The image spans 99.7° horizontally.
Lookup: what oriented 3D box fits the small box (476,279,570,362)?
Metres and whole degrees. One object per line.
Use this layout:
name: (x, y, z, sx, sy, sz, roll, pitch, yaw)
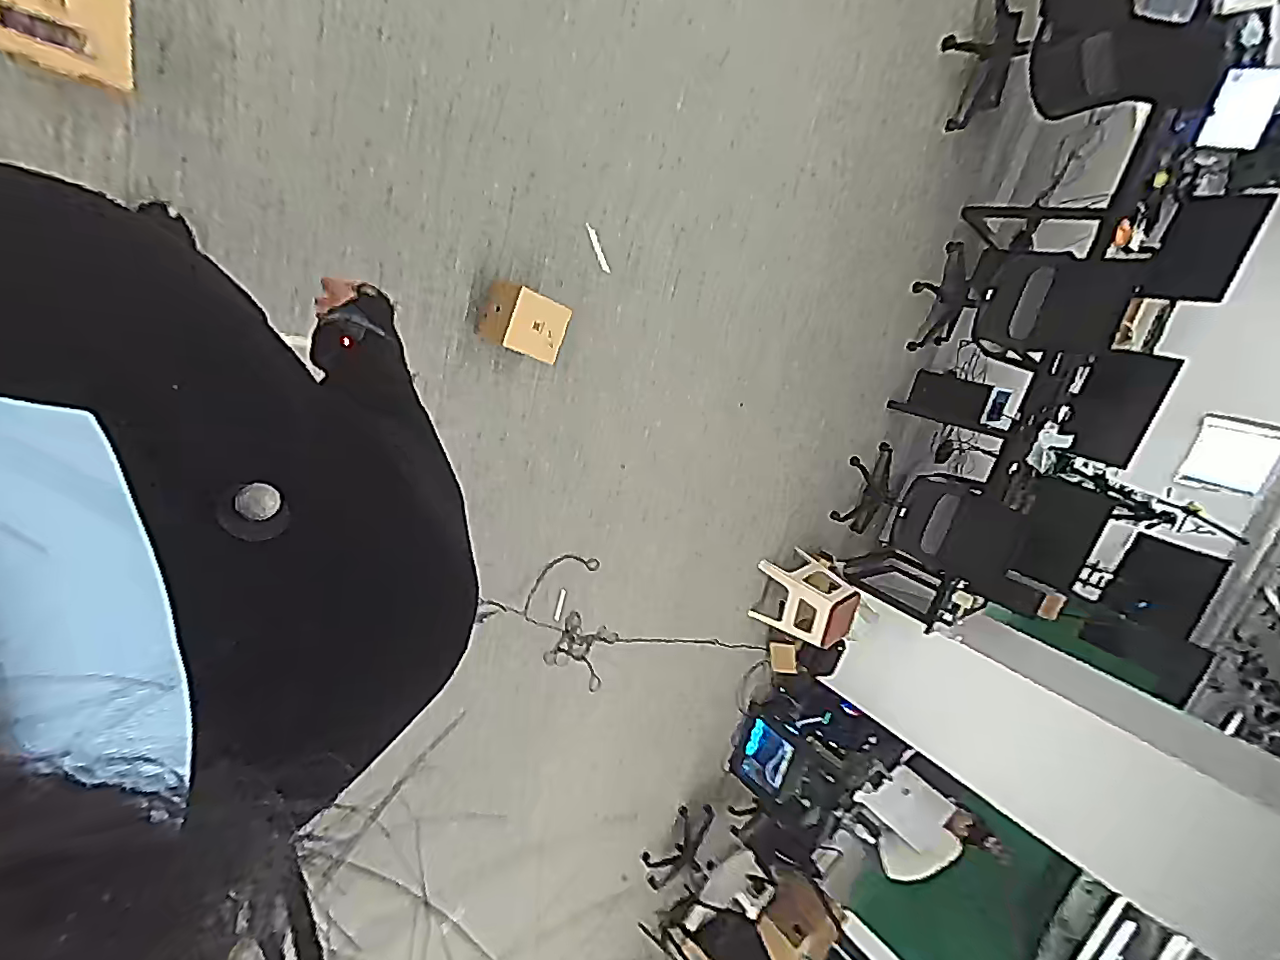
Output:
small box: (-0.337, -0.456, 1.538, 0.179, 0.176, 0.168, 14, 102, -47)
